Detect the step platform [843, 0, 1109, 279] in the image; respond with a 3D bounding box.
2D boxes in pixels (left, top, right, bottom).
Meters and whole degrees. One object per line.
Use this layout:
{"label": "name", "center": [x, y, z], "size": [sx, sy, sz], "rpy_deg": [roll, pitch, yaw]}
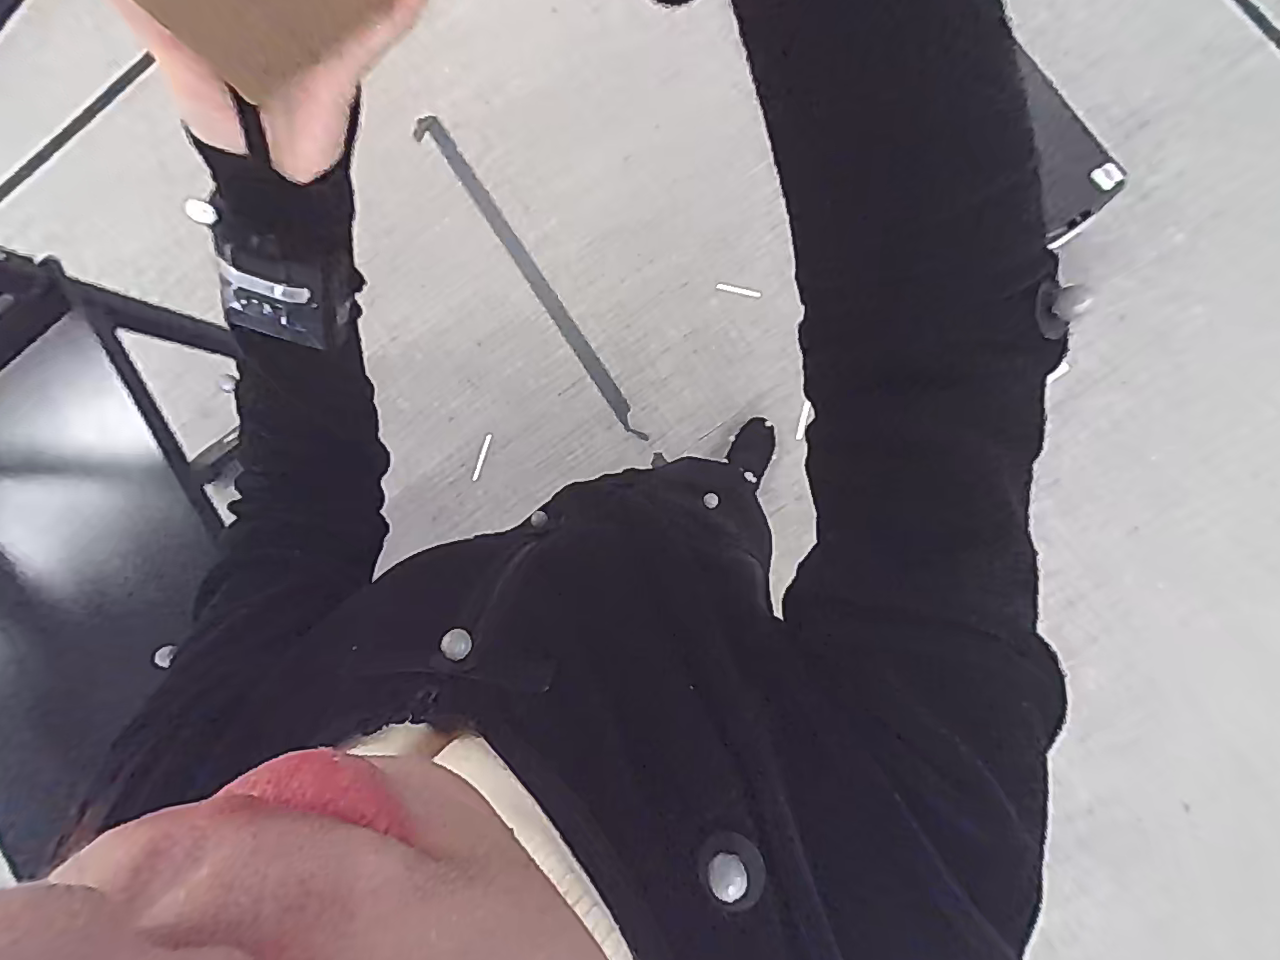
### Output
{"label": "step platform", "center": [0.789, -0.861, 1.315], "size": [0.286, 0.204, 0.684], "rpy_deg": [-29, 84, 6]}
